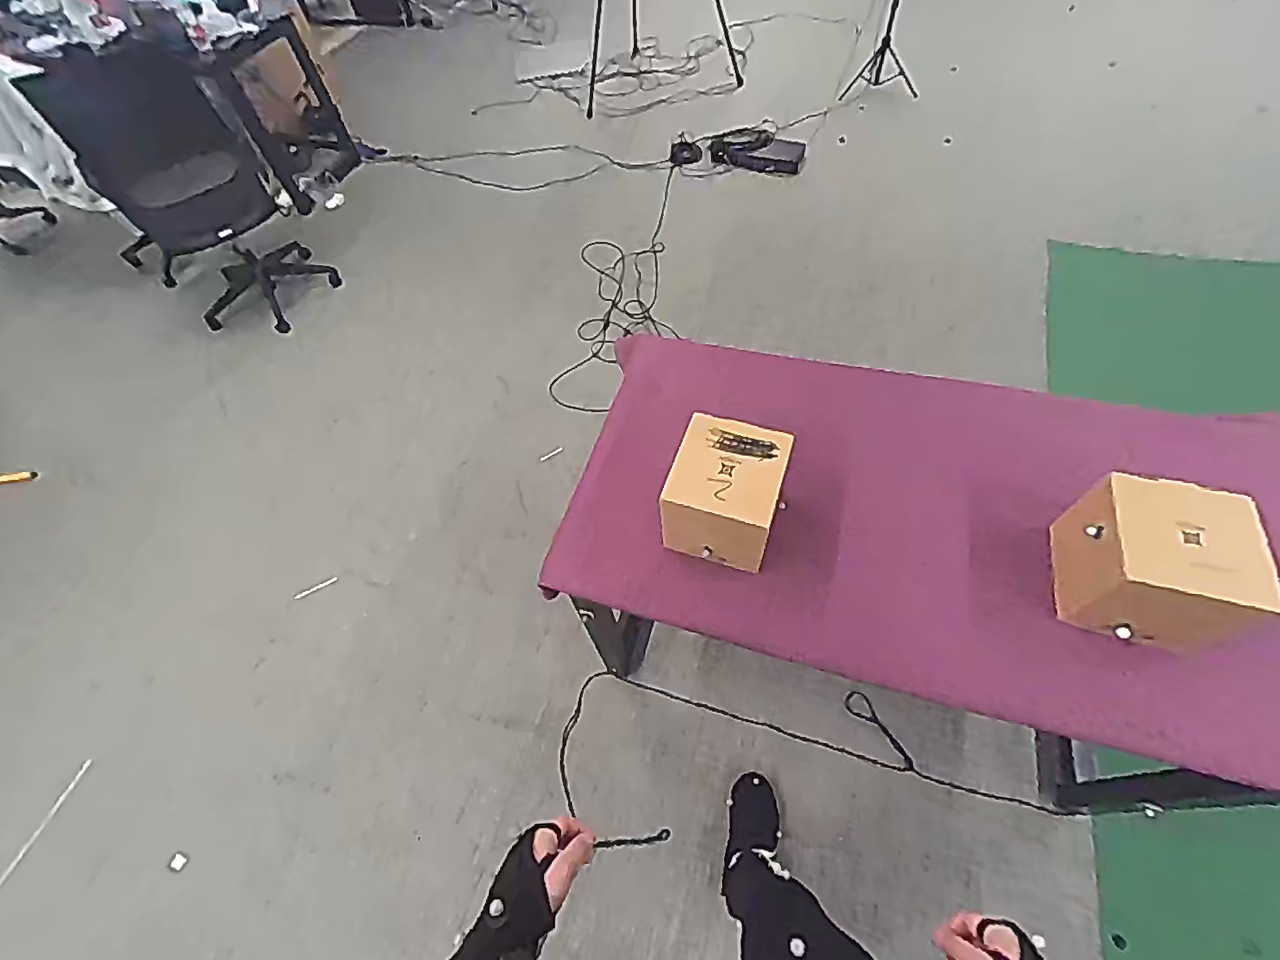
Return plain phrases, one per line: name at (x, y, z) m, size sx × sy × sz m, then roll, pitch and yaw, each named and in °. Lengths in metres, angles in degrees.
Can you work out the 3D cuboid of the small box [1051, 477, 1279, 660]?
small box at (0.715, 0.127, 0.764) m, size 0.168 × 0.176 × 0.179 m, roll 14°, pitch 59°, yaw 16°
